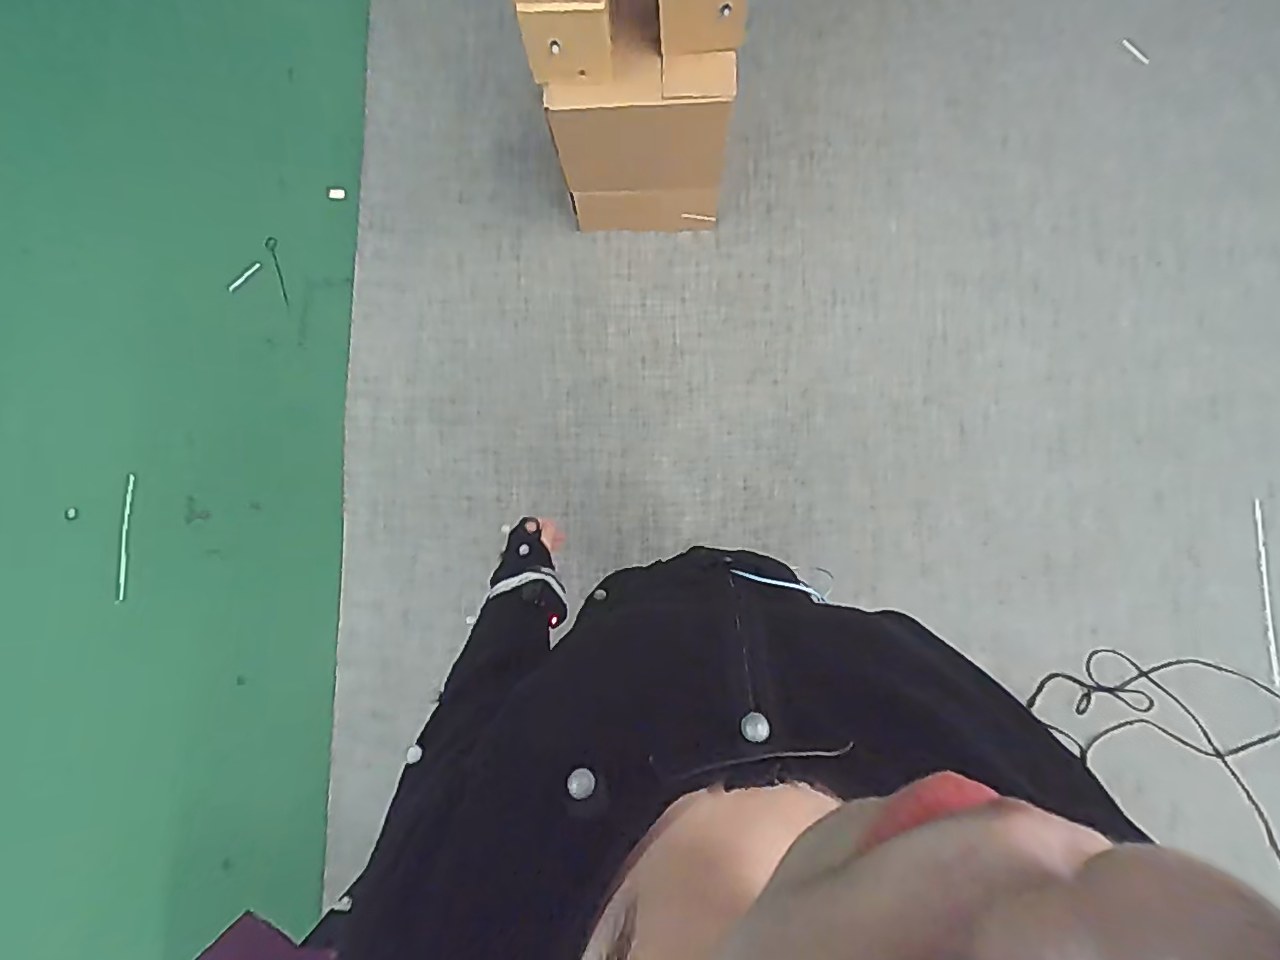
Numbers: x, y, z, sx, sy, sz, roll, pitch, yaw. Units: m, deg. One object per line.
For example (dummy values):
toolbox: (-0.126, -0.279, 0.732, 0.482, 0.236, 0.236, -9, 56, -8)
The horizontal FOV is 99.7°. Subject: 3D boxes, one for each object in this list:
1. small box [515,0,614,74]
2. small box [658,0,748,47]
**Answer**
small box: (-0.141, -0.940, 1.062, 0.168, 0.176, 0.179, 1, 85, 2)
small box: (0.123, -0.996, 1.057, 0.179, 0.176, 0.168, -1, 85, 4)
